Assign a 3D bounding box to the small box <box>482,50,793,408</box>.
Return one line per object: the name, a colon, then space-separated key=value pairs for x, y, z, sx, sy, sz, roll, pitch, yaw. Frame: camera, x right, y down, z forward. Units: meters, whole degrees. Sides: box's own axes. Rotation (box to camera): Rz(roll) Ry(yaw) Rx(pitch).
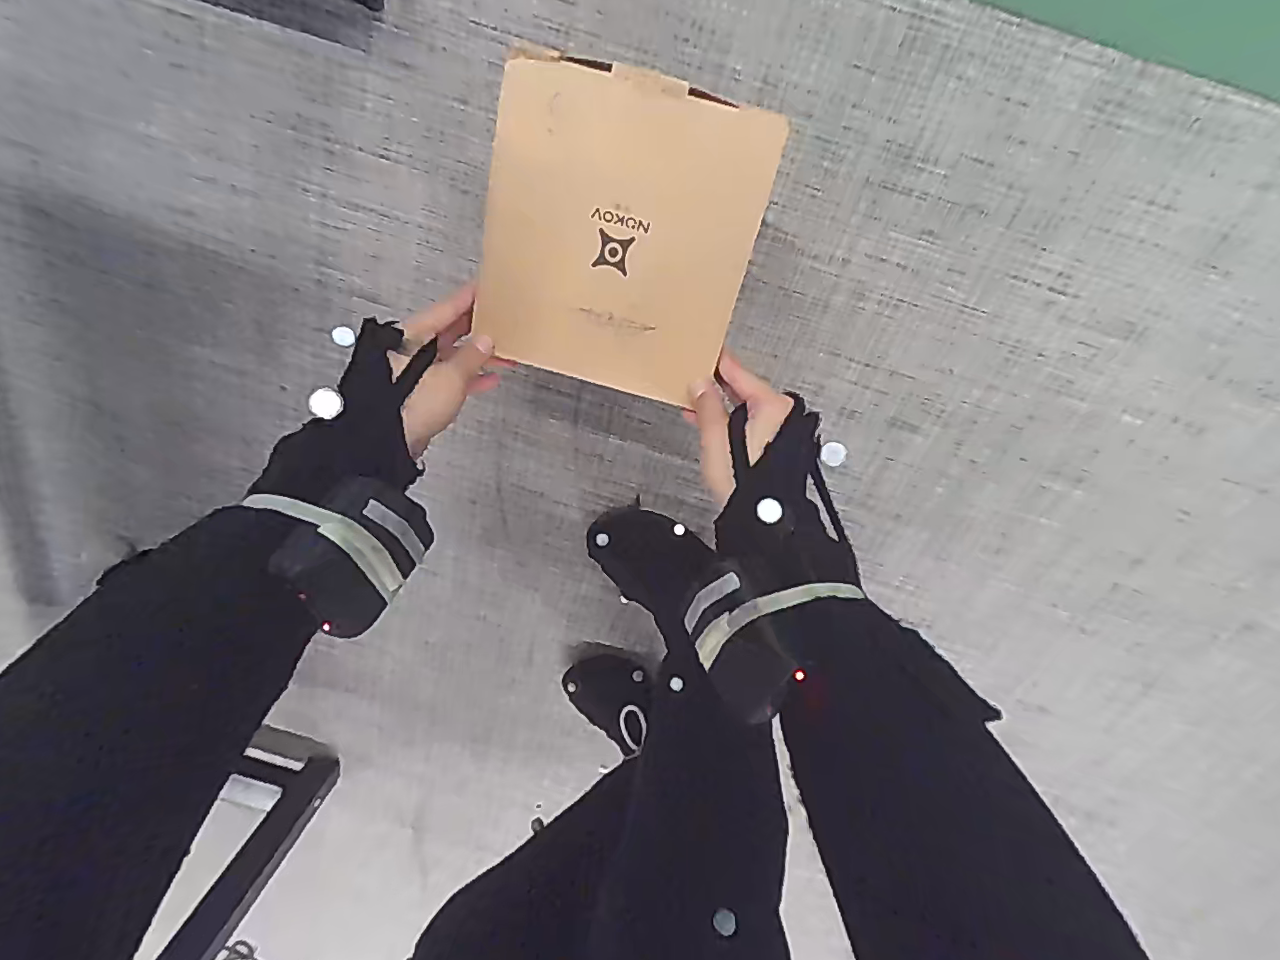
small box: x=-0.003 y=-0.177 z=0.411 sx=0.168 sy=0.176 sz=0.179 roll=15 pitch=114 yaw=1
